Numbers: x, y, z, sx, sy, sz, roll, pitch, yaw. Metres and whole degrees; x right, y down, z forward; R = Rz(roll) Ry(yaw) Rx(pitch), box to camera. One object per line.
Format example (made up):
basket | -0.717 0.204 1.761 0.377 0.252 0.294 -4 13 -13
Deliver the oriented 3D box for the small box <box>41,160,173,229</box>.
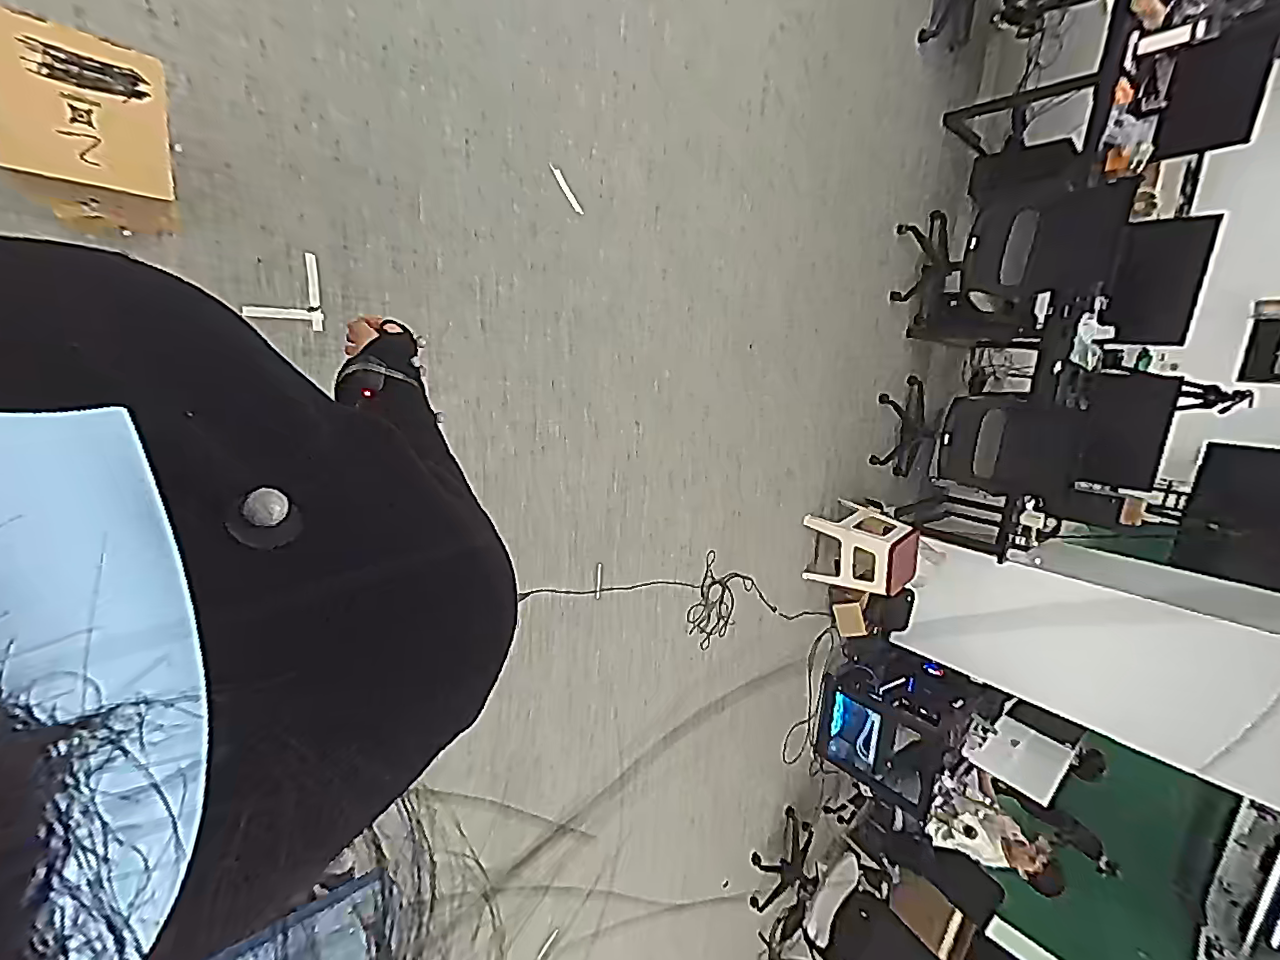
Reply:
small box | -0.961 -0.551 0.954 0.168 0.176 0.179 -20 115 -36

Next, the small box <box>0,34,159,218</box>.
small box | -0.859 -0.524 0.830 0.168 0.176 0.179 -6 106 -41
